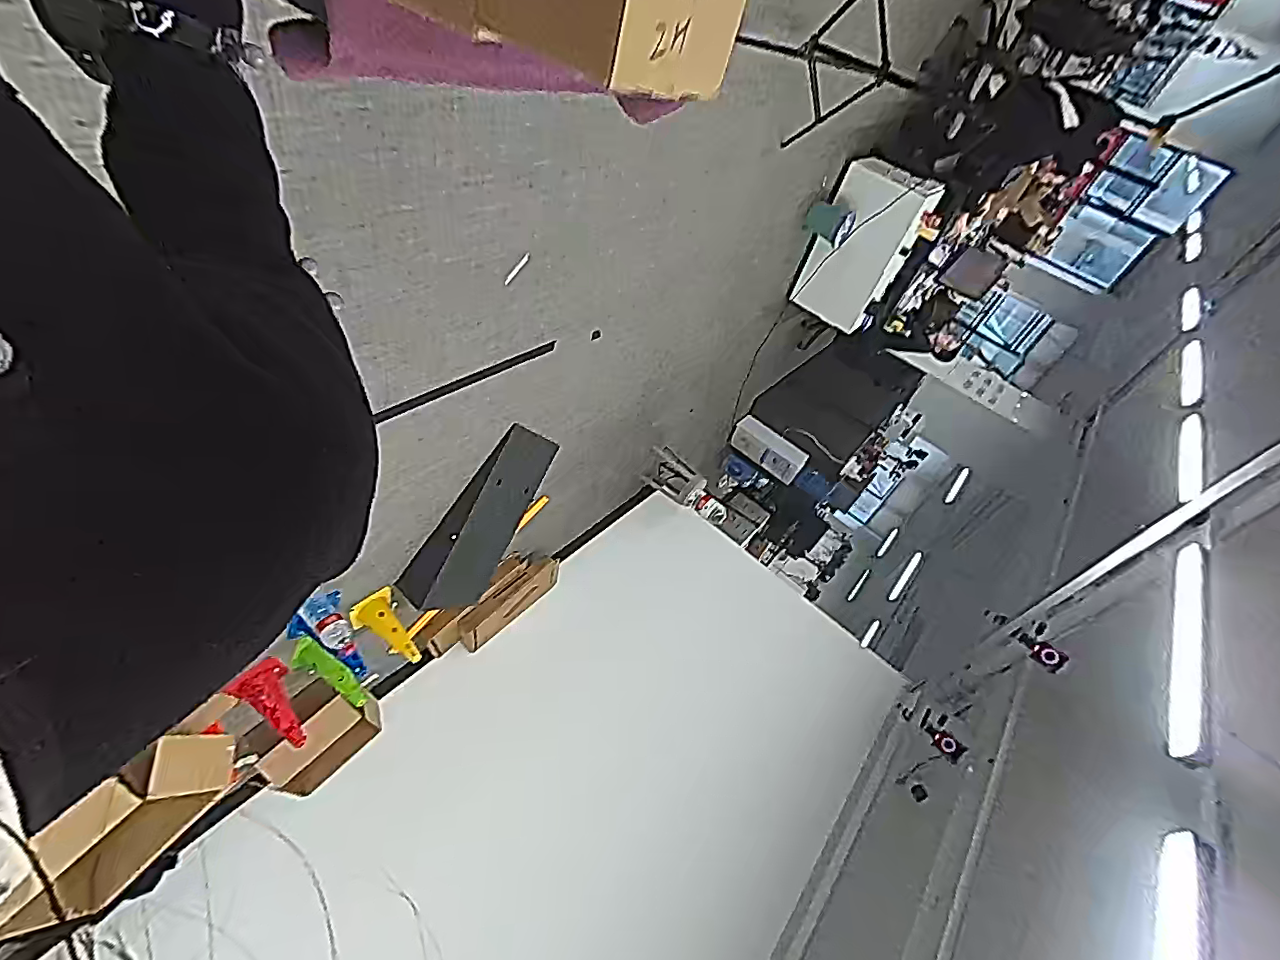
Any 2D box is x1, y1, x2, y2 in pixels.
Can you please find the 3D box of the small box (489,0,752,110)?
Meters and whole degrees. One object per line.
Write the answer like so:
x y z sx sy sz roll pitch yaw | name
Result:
-0.010 -0.448 0.462 0.168 0.176 0.179 -34 154 -42 | small box
